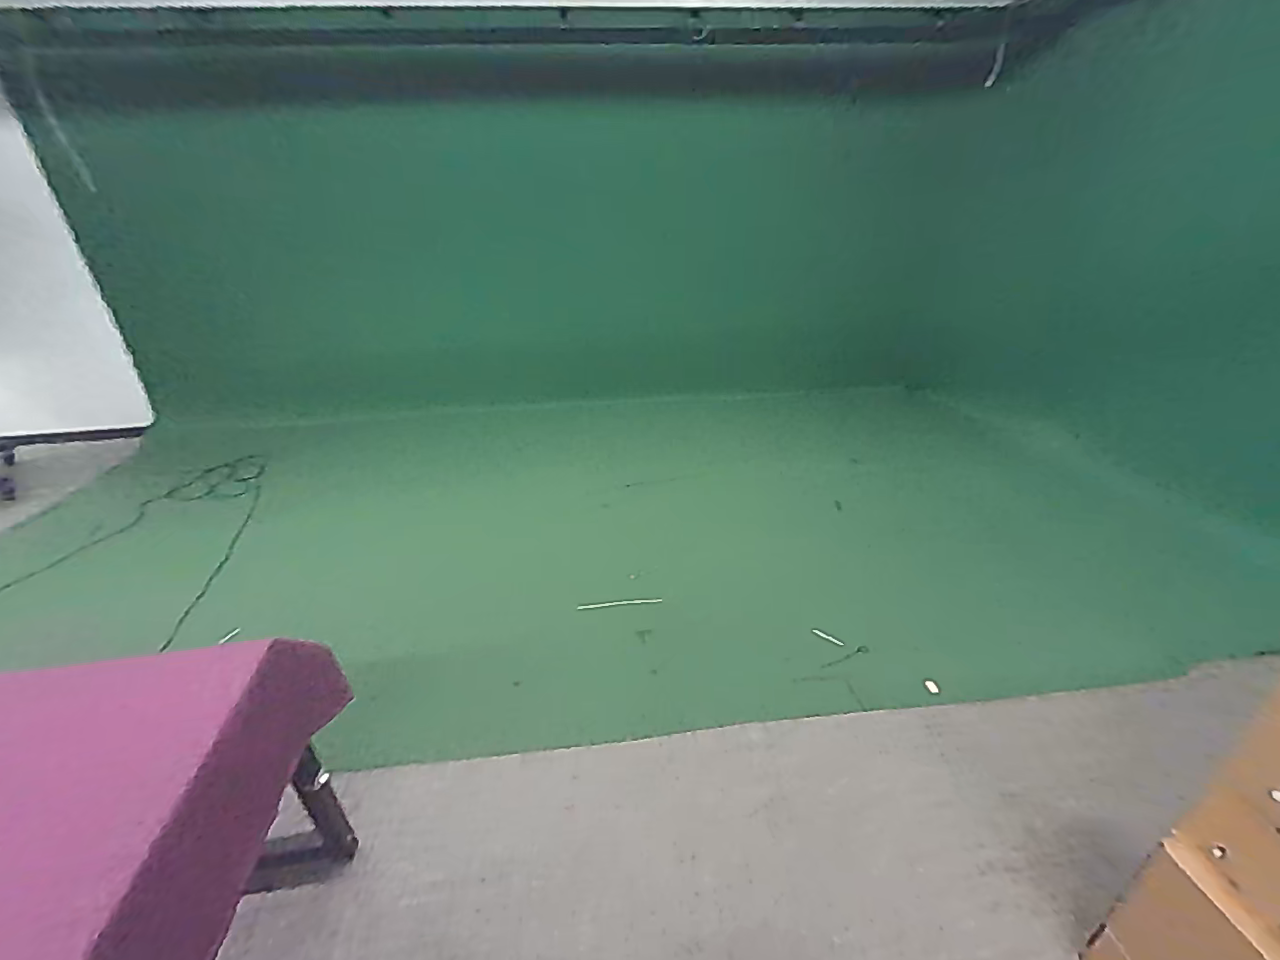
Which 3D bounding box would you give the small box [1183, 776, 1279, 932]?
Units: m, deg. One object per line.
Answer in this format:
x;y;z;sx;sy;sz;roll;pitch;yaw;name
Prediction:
1.090;0.615;0.906;0.179;0.176;0.168;-6;29;-4;small box
